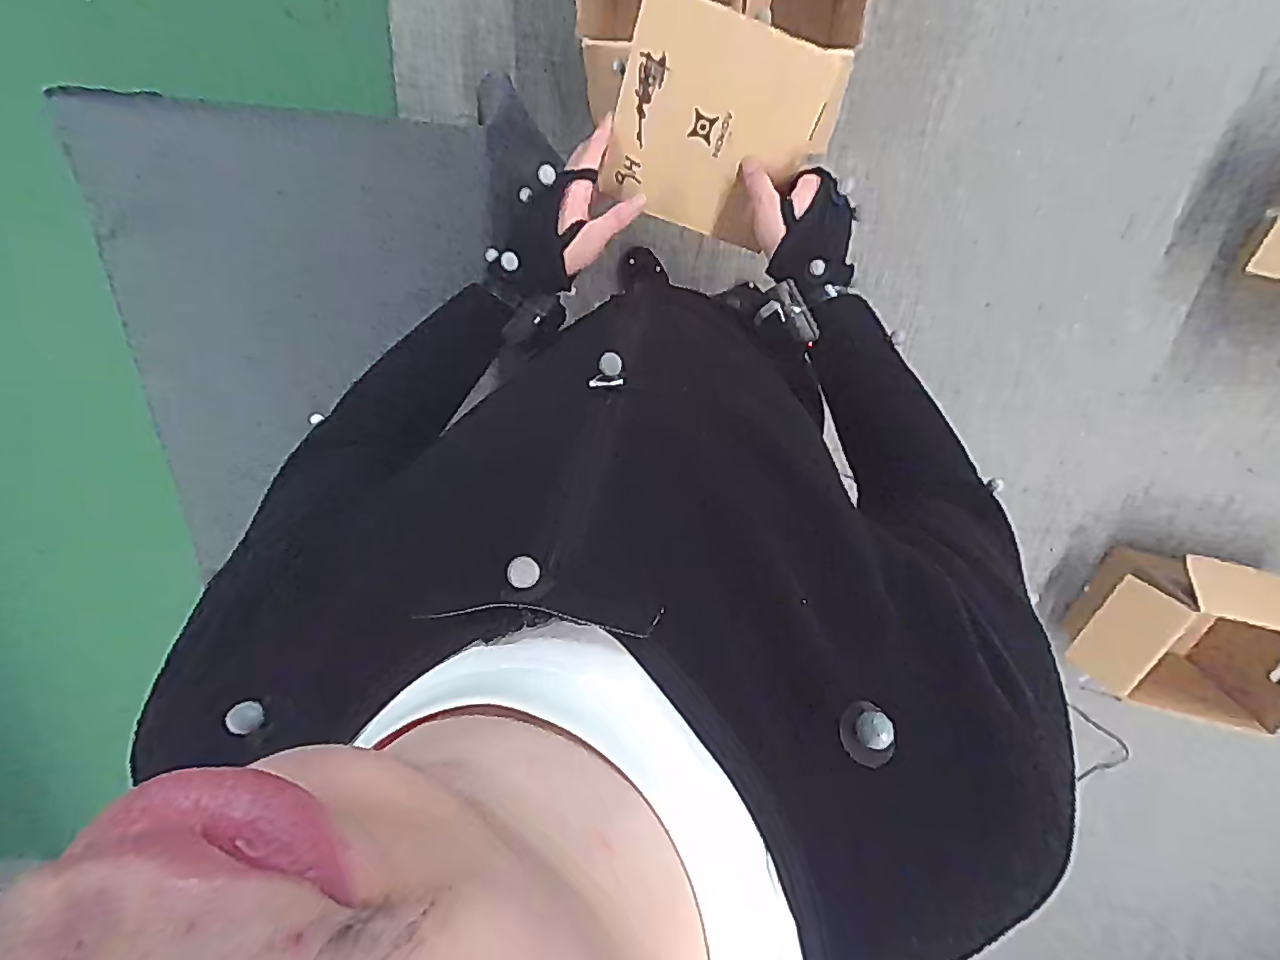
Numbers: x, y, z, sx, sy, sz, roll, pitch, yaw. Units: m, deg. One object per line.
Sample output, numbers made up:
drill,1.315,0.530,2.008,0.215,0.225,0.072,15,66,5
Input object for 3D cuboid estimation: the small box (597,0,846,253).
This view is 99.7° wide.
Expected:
small box,0.070,-0.361,0.545,0.179,0.176,0.168,17,127,-10
